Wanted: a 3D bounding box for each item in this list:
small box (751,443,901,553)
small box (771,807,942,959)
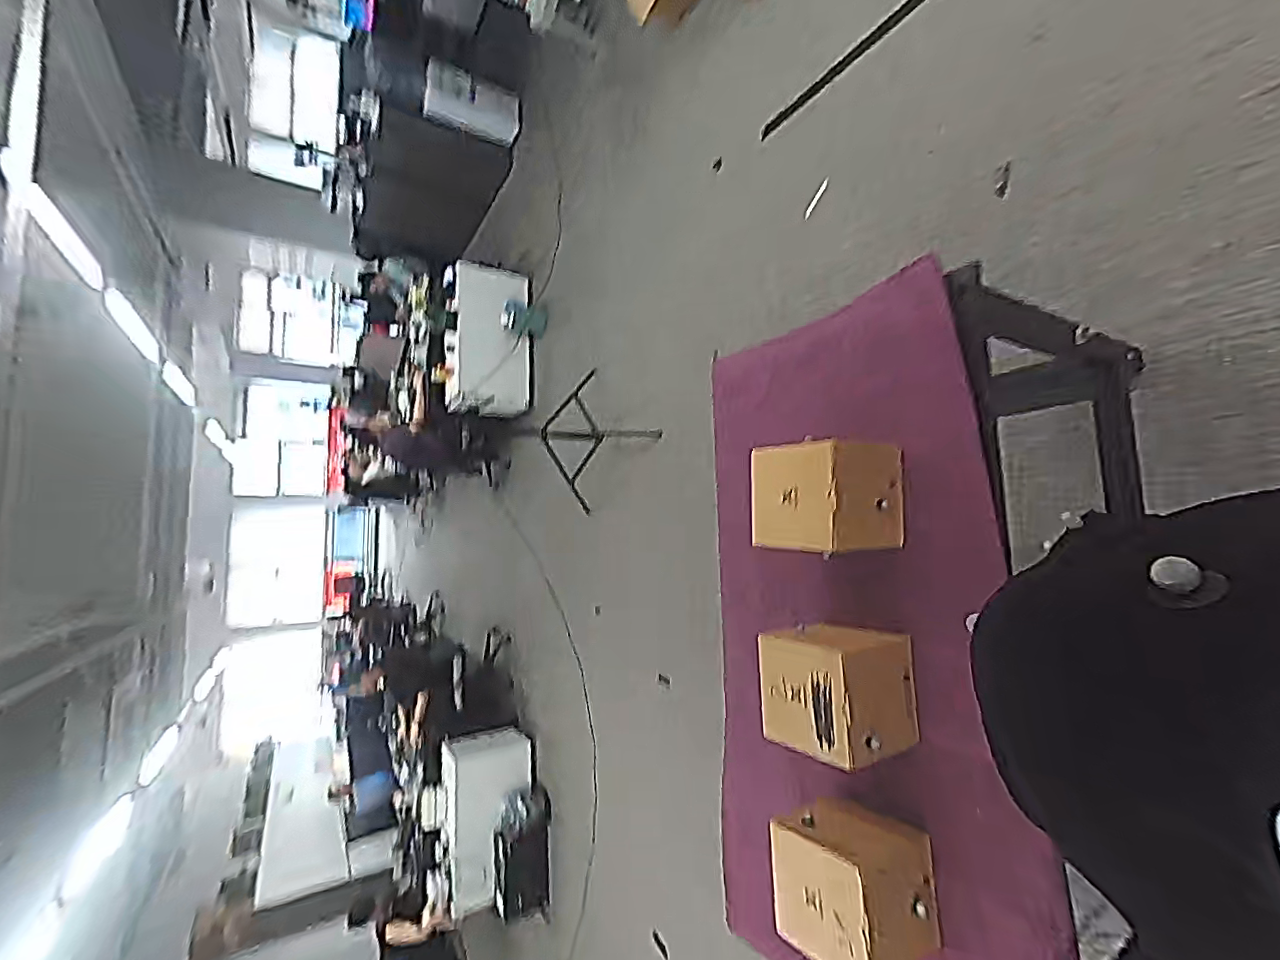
[{"bbox_3d":[0.305,0.033,0.900,0.179,0.176,0.168,-6,84,59],"label":"small box"},{"bbox_3d":[0.327,0.631,0.831,0.179,0.176,0.168,-15,74,57],"label":"small box"}]
